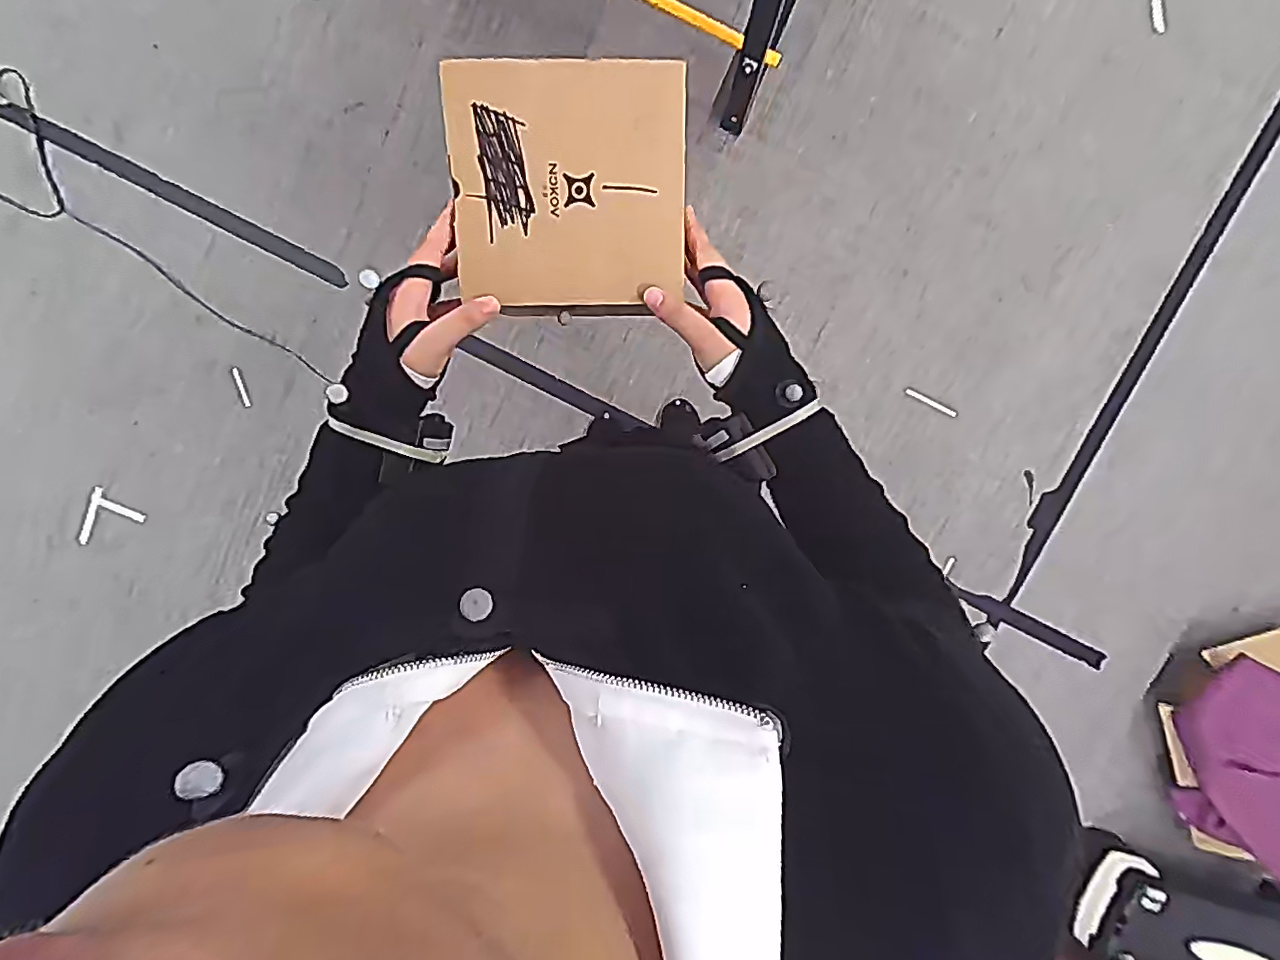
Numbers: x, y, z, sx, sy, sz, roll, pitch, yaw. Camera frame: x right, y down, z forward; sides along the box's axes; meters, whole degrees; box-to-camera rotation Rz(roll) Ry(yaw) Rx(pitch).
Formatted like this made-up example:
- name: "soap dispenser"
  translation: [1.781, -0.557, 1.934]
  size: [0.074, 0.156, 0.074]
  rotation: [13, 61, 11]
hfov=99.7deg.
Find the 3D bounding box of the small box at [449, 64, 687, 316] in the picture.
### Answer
- name: "small box"
  translation: [-0.052, -0.238, 0.486]
  size: [0.179, 0.176, 0.168]
  rotation: [-1, 104, 0]
